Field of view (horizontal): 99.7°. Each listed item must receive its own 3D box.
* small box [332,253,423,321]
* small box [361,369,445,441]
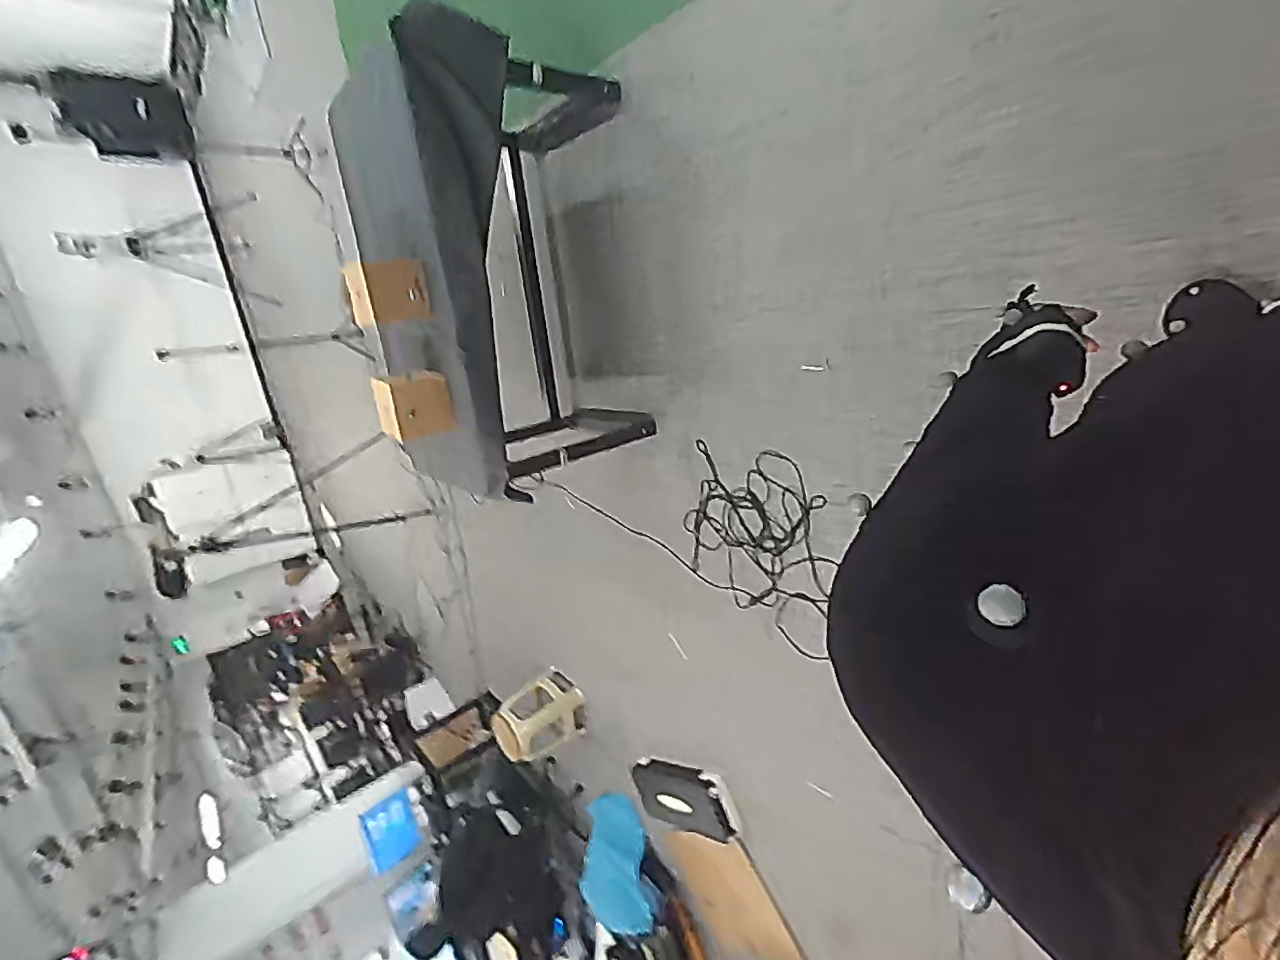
[{"bbox_3d":[-0.739,-0.543,1.527,0.179,0.176,0.168,13,117,45],"label":"small box"},{"bbox_3d":[-0.712,-0.234,1.634,0.168,0.176,0.179,20,121,44],"label":"small box"}]
